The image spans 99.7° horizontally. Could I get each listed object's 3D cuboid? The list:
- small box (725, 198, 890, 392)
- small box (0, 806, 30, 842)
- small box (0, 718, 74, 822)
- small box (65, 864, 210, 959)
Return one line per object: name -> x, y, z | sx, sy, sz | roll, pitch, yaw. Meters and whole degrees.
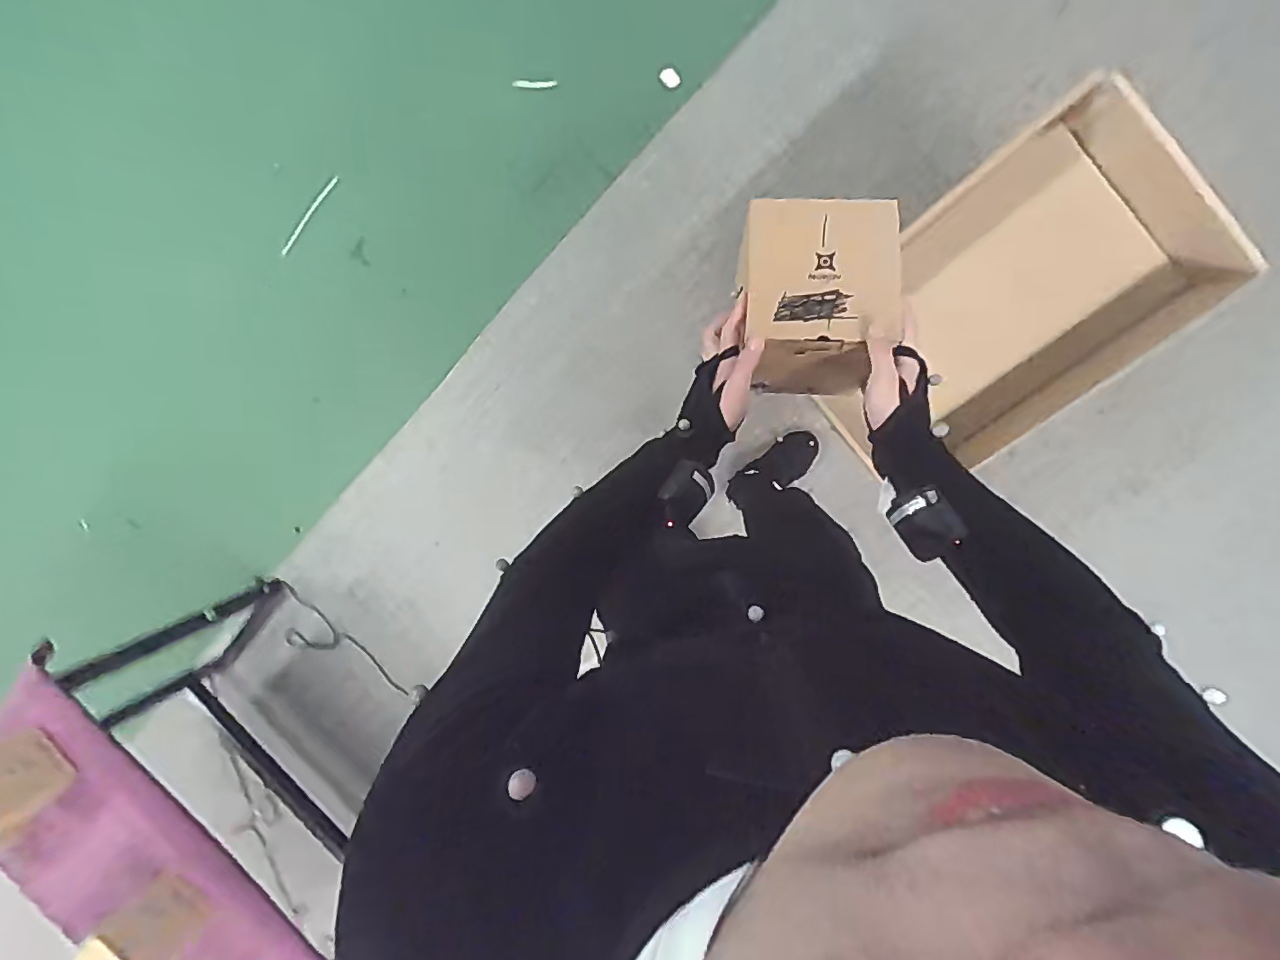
small box -> 0.196, -0.216, 0.669 | 0.168, 0.176, 0.179 | 2, 80, 5
small box -> -1.700, 0.866, 1.346 | 0.179, 0.176, 0.168 | -37, 93, 16
small box -> -1.498, 0.696, 1.263 | 0.179, 0.176, 0.168 | -37, 92, 18
small box -> -1.168, 1.059, 1.270 | 0.168, 0.176, 0.179 | 45, 109, 1
